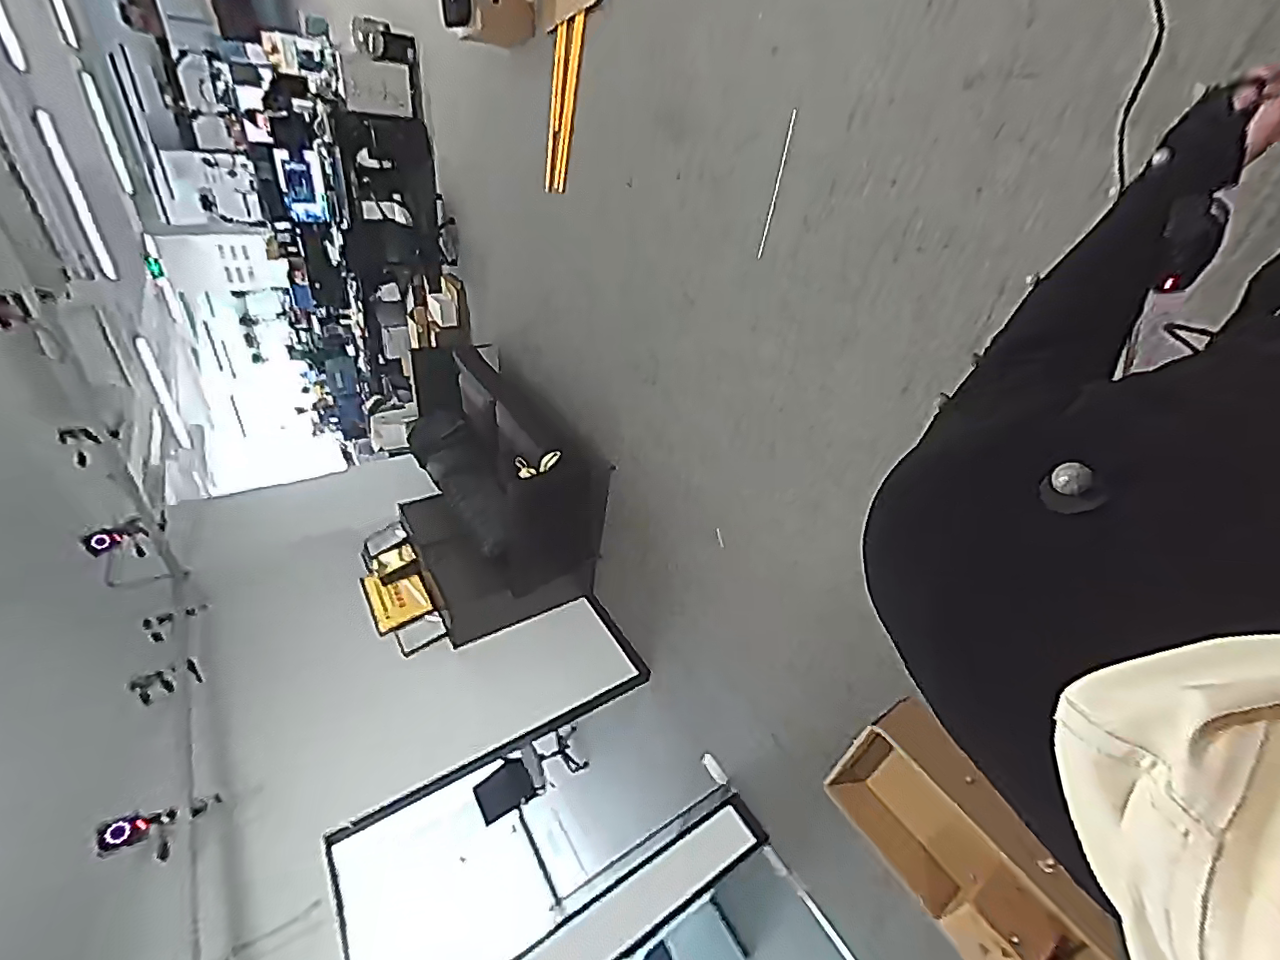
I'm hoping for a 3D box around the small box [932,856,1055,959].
[{"bbox_3d":[0.892,1.100,1.363,0.168,0.176,0.179,47,140,36],"label":"small box"}]
